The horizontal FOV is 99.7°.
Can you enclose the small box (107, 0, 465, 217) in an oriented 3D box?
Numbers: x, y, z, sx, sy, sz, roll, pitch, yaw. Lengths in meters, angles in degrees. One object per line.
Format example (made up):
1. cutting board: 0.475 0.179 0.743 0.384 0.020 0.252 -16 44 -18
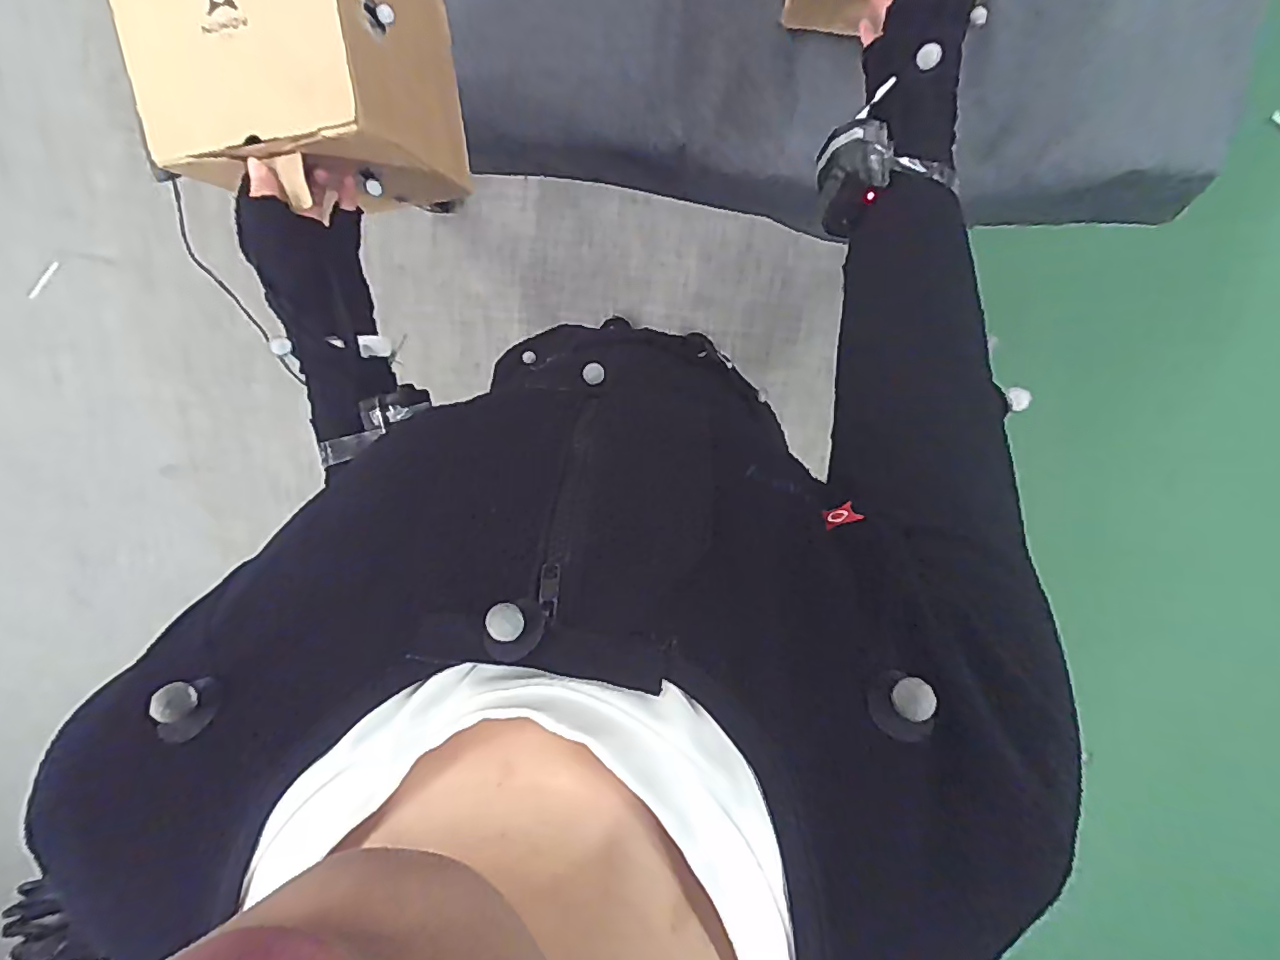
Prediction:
1. small box: -0.256 -0.322 0.425 0.168 0.176 0.179 -4 101 10
